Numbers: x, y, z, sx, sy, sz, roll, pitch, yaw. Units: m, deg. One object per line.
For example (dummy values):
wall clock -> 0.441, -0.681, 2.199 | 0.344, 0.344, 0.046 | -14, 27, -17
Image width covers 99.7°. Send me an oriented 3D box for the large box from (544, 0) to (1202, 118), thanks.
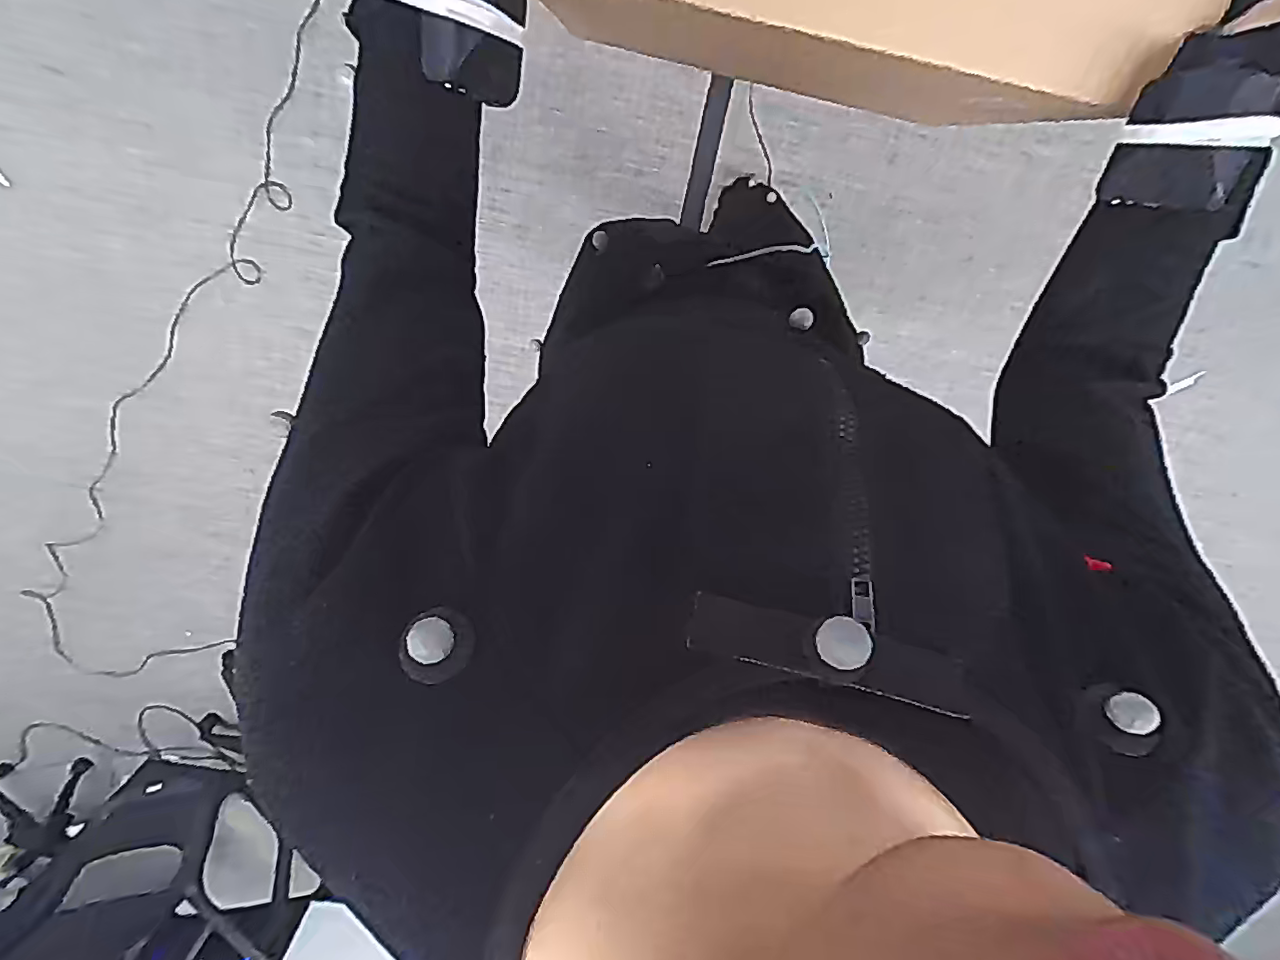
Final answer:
large box -> 0.145, -0.468, 0.364 | 0.408, 0.320, 0.320 | 10, 124, -5
